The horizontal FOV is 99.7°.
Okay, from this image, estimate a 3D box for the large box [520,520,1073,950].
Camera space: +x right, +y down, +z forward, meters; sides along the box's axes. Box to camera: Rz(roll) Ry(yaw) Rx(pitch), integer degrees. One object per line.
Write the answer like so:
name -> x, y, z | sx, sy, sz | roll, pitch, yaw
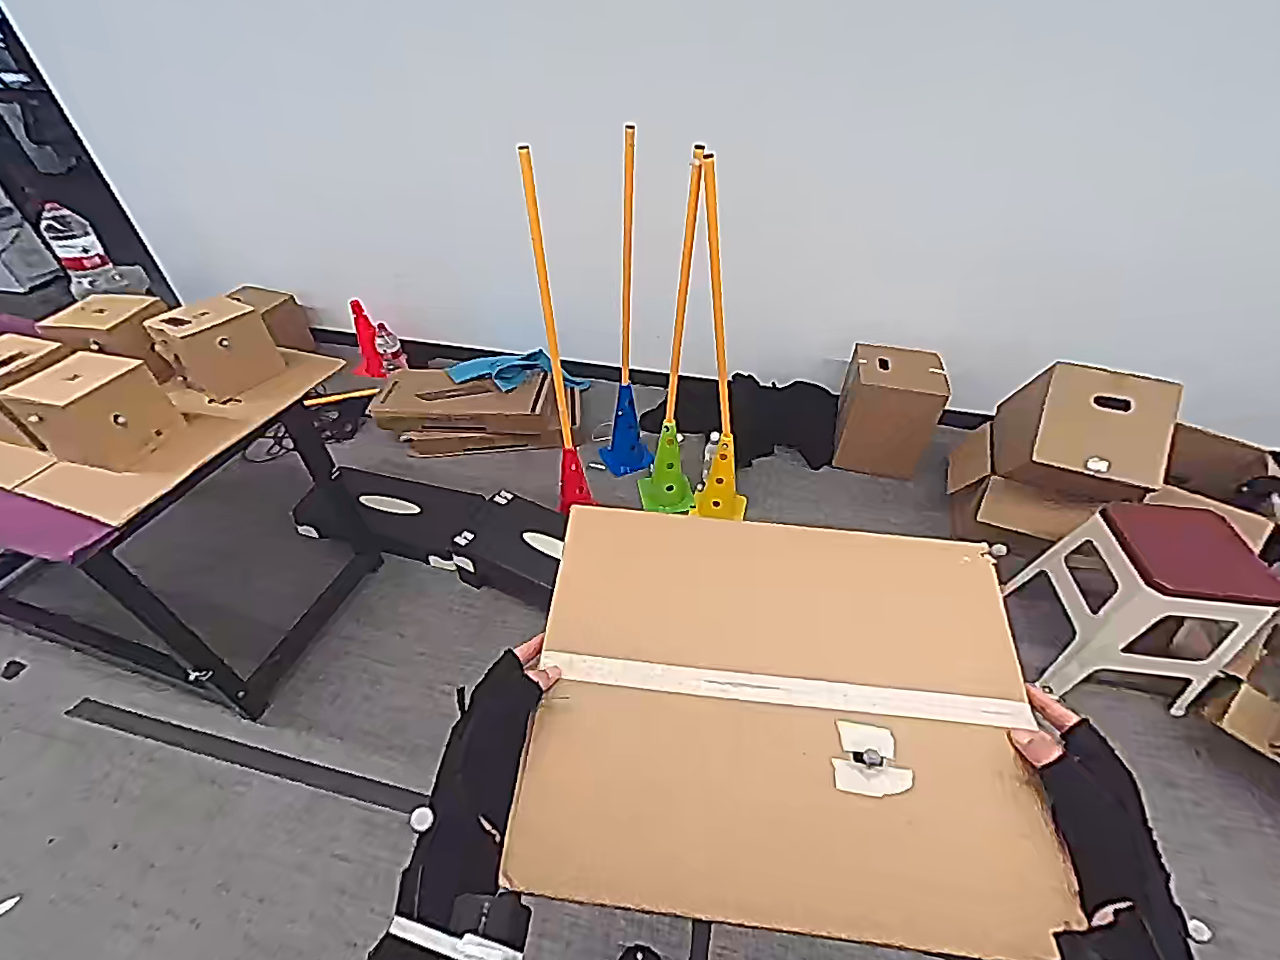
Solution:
large box -> 0.119, 0.263, 0.589 | 0.408, 0.320, 0.320 | 5, 59, 3
